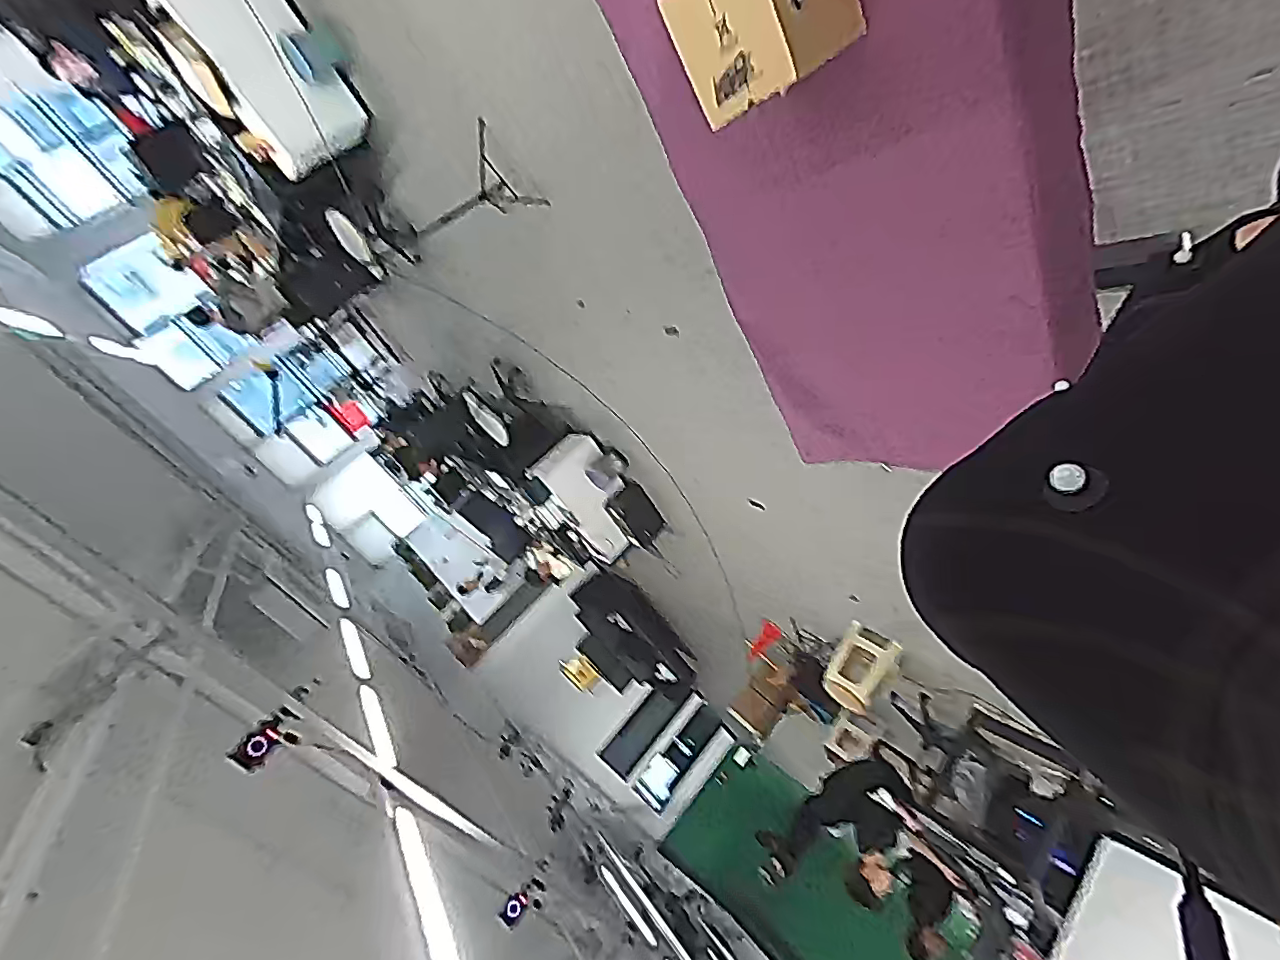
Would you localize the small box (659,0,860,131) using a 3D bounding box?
[{"bbox_3d":[0.165,-0.624,0.728,0.168,0.176,0.179,14,143,56],"label":"small box"}]
